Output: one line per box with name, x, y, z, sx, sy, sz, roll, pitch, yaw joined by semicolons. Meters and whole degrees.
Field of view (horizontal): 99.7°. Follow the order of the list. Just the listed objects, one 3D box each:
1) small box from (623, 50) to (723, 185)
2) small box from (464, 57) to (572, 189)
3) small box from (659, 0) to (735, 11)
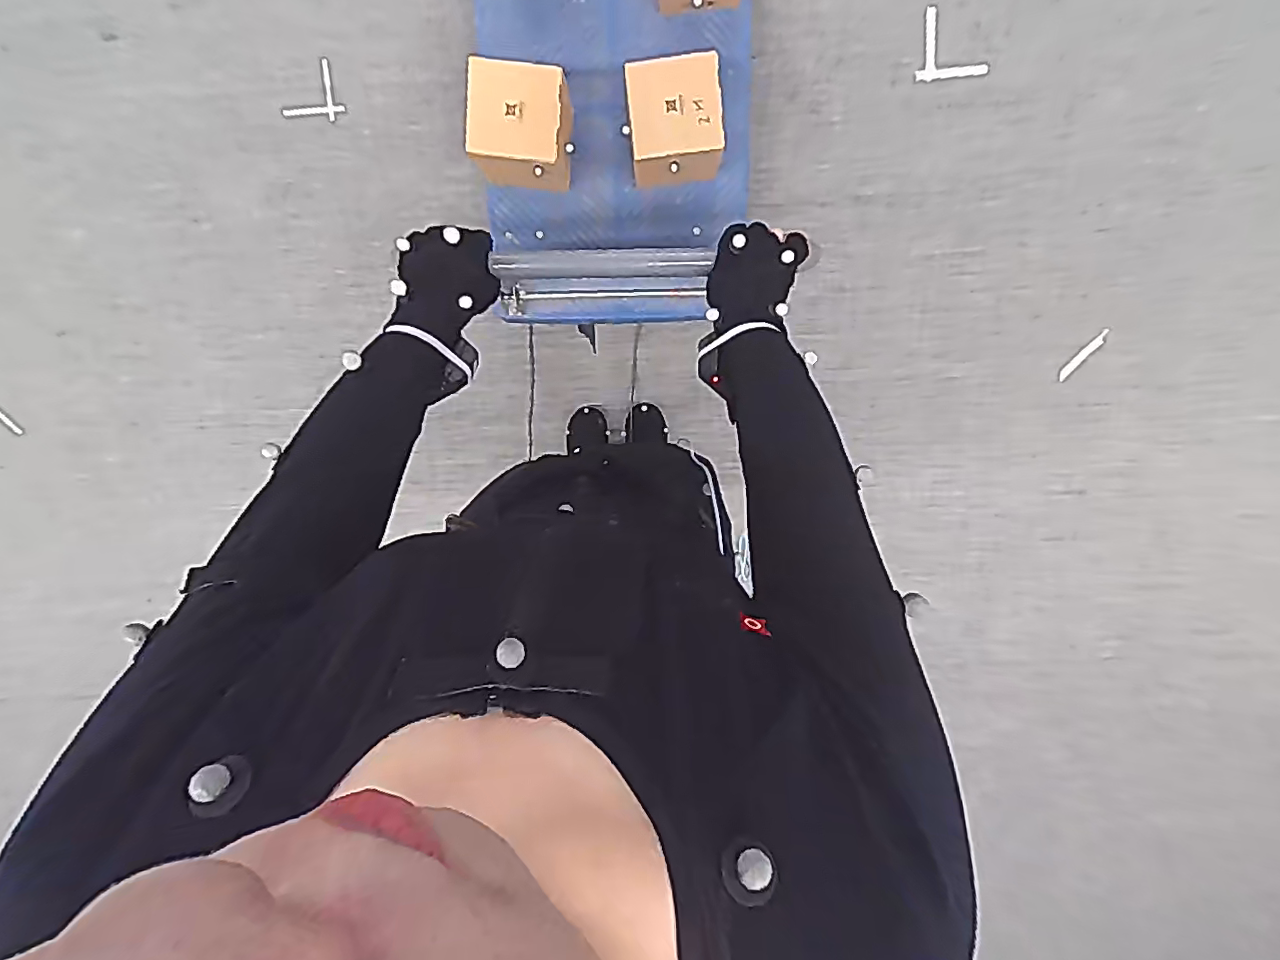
small box;0.065;-0.712;1.084;0.179;0.176;0.168;-6;101;2
small box;-0.239;-0.706;1.088;0.179;0.176;0.168;5;100;-2
small box;0.112;-1.041;1.018;0.168;0.176;0.179;-4;102;2
